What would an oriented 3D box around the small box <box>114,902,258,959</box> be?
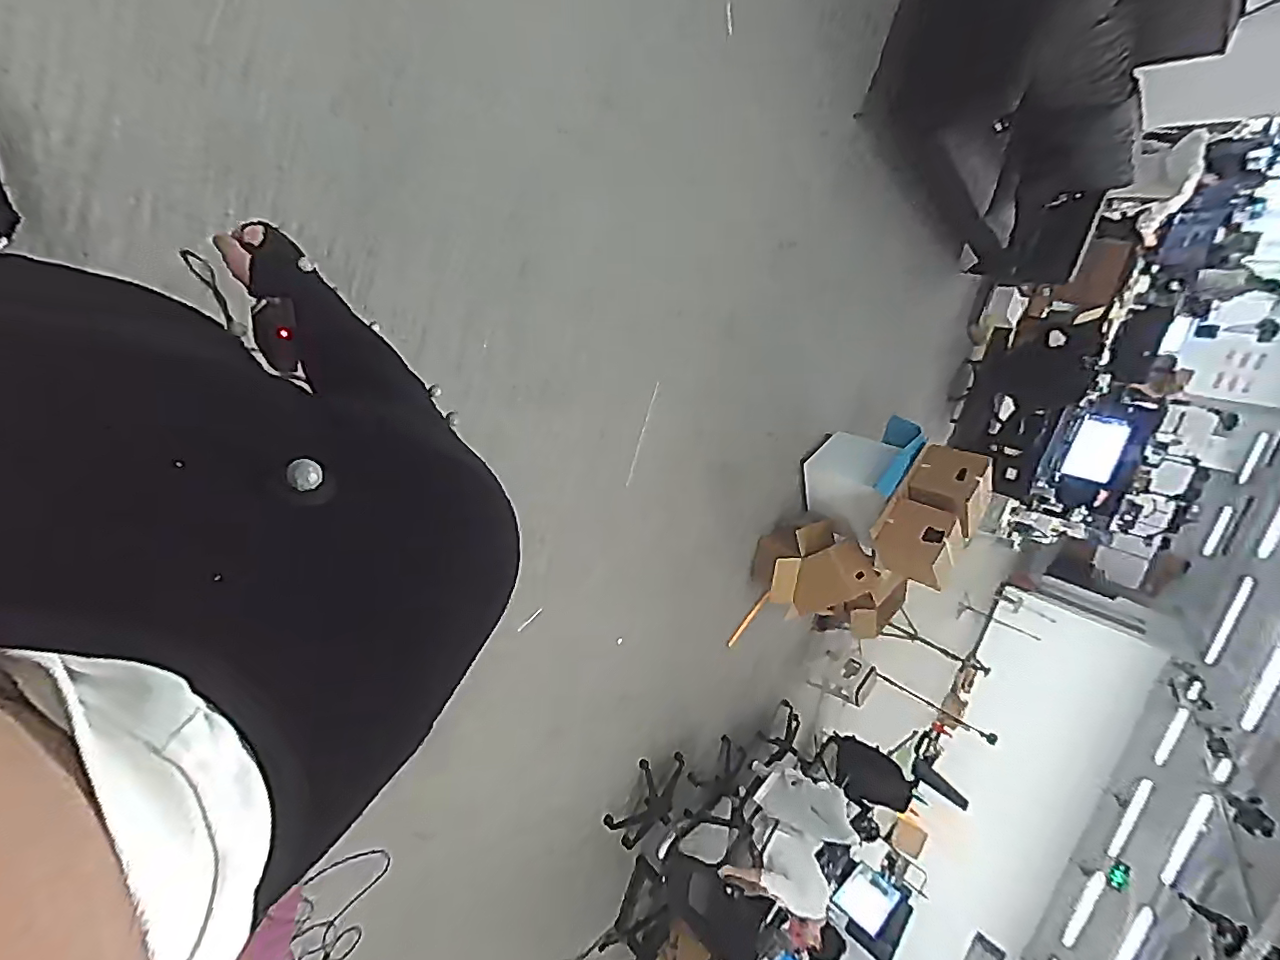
[{"bbox_3d":[-0.739,0.839,0.876,0.168,0.176,0.179,1,110,-46],"label":"small box"}]
